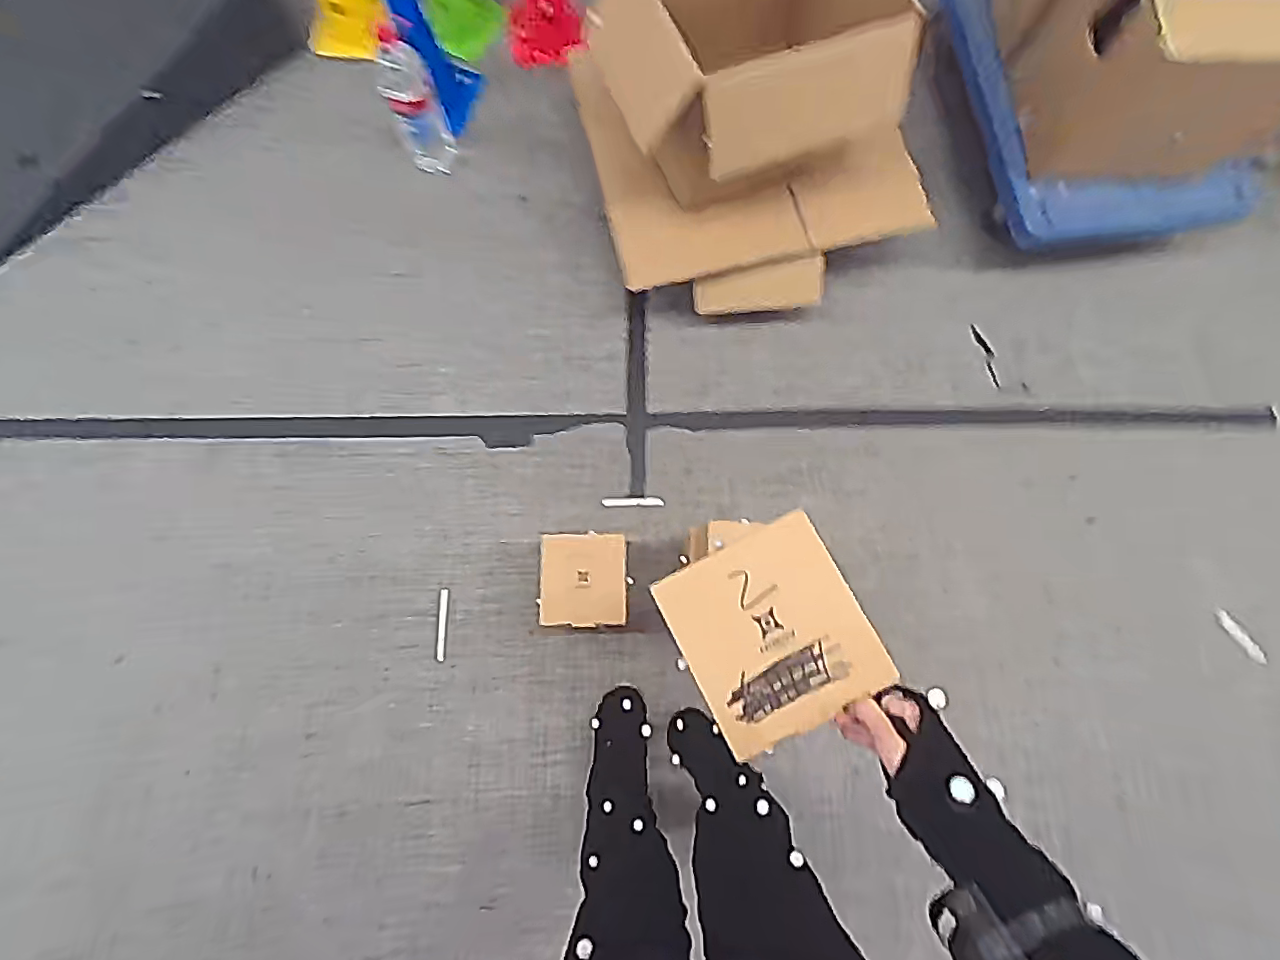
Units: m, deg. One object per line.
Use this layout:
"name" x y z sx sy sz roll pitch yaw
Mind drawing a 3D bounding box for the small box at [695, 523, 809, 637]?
"small box" 0.194 0.179 0.971 0.168 0.176 0.179 4 78 -2

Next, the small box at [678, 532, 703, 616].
"small box" 0.184 0.203 1.134 0.179 0.176 0.168 6 79 -3

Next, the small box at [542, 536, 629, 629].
"small box" -0.107 0.211 1.118 0.168 0.176 0.179 0 78 -4
